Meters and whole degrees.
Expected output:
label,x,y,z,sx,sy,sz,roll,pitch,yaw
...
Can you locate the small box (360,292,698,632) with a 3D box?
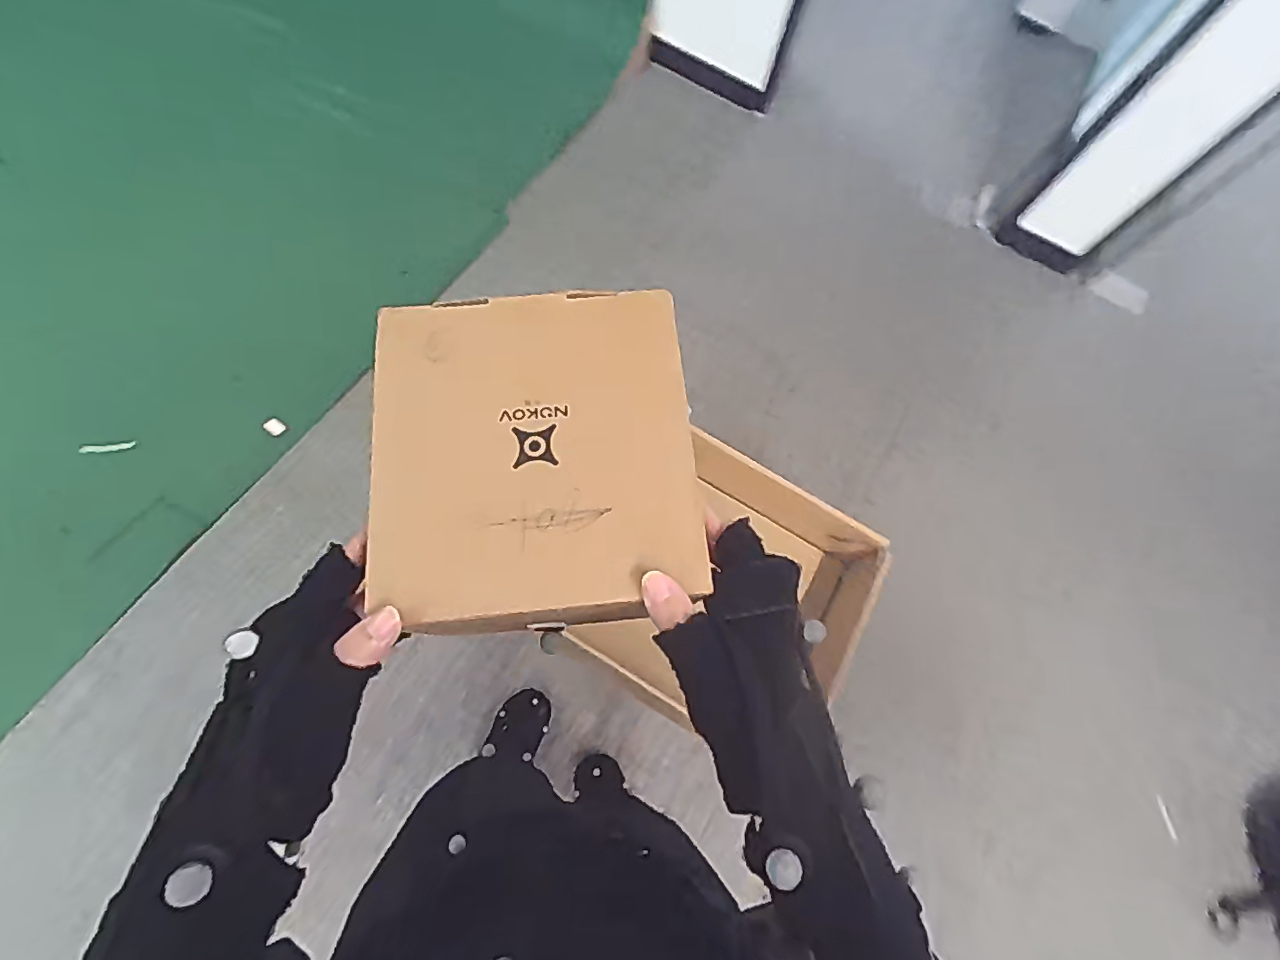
label,x,y,z,sx,sy,sz,roll,pitch,yaw
small box,-0.064,0.002,0.362,0.168,0.176,0.179,-6,74,-4
